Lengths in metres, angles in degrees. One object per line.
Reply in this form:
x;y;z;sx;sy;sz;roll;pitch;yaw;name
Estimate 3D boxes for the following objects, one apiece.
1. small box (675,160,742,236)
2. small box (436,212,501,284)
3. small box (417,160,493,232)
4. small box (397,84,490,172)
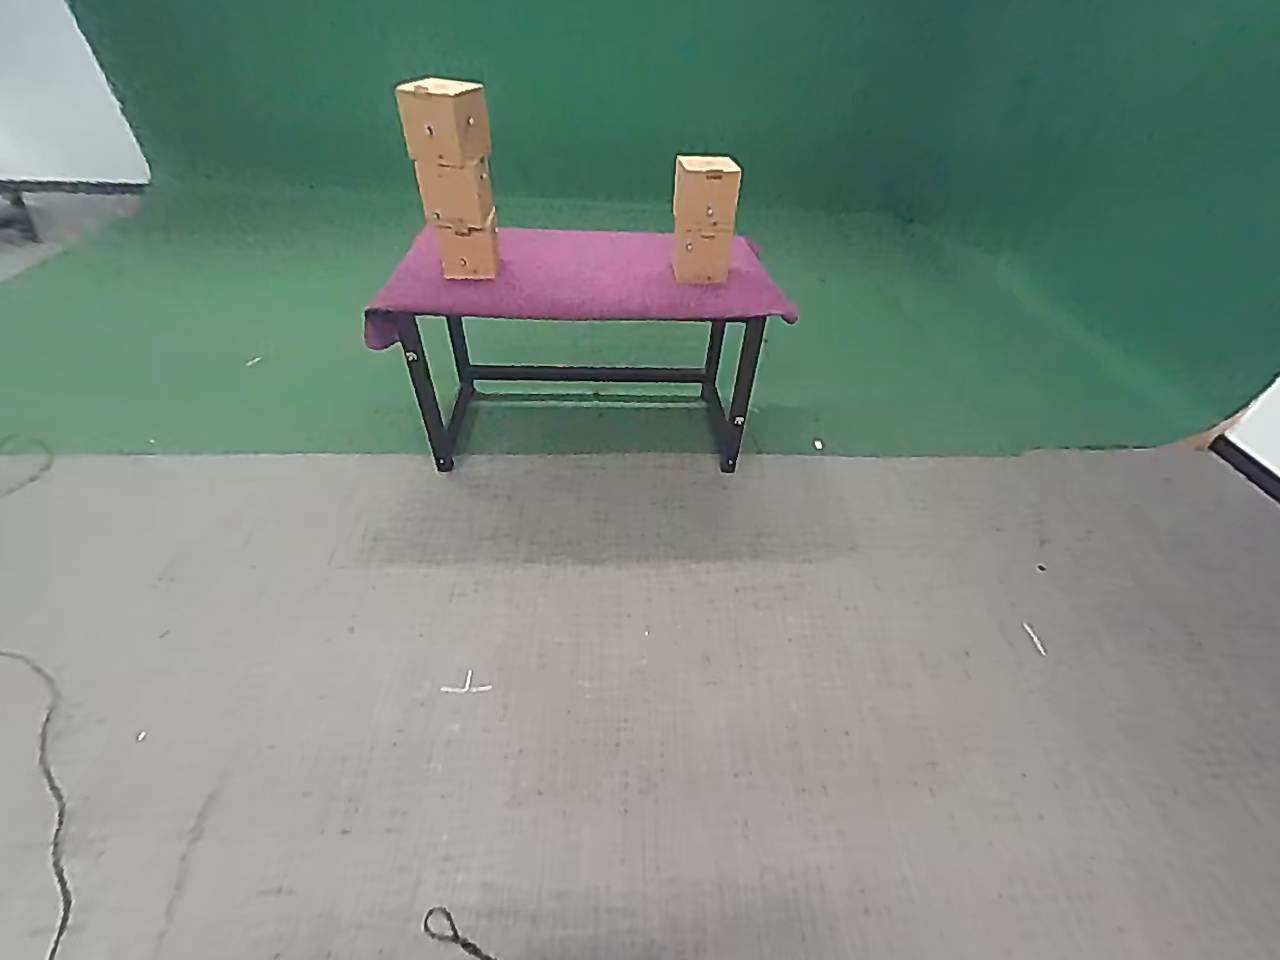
0.204;-0.875;1.677;0.168;0.176;0.179;-3;43;-6;small box
-0.544;-0.750;1.740;0.168;0.176;0.179;-1;45;-6;small box
-0.543;-0.858;1.615;0.168;0.176;0.179;3;44;-3;small box
-0.534;-0.978;1.503;0.168;0.176;0.179;15;46;10;small box
